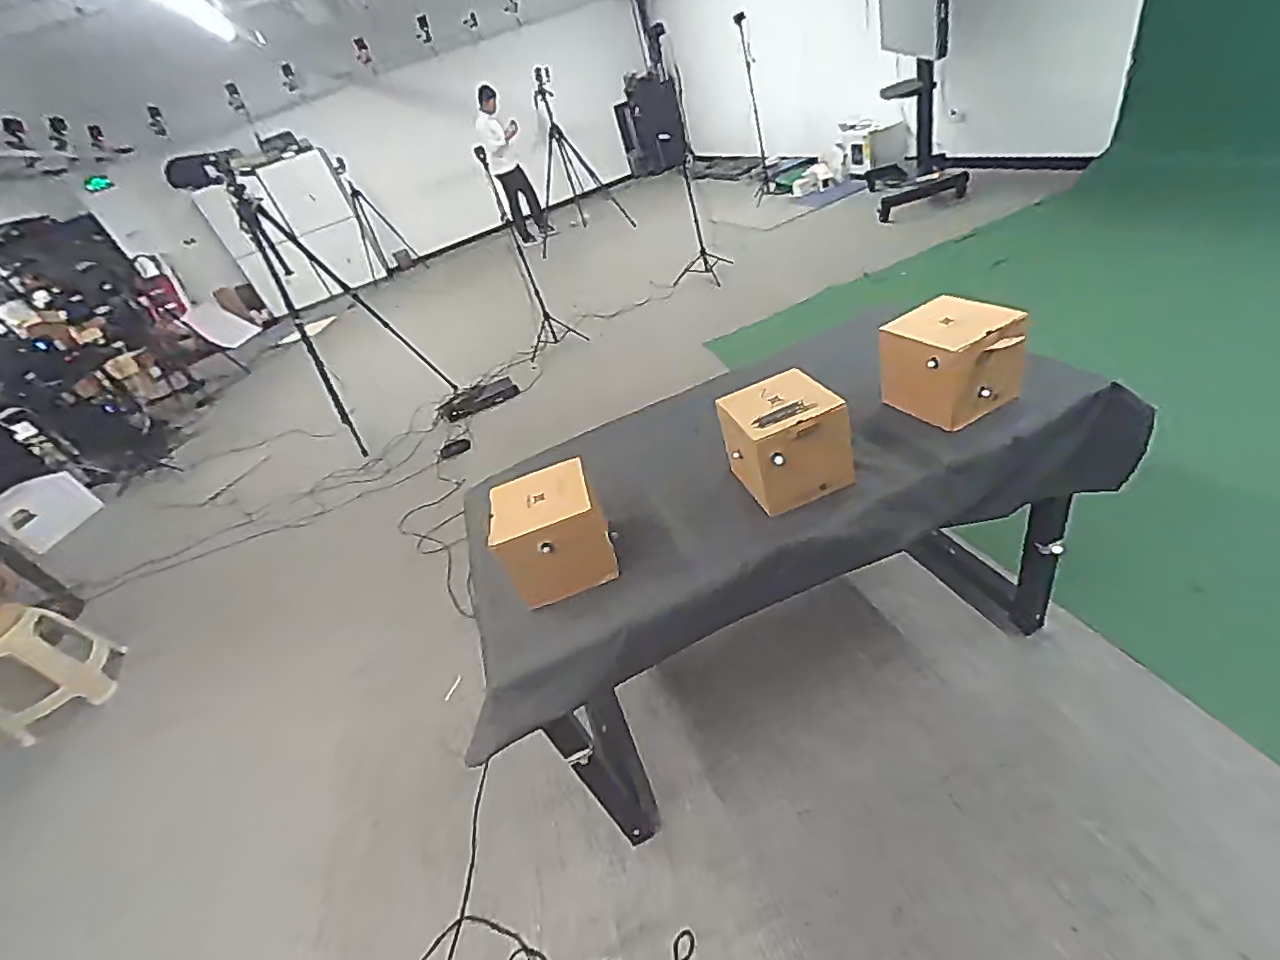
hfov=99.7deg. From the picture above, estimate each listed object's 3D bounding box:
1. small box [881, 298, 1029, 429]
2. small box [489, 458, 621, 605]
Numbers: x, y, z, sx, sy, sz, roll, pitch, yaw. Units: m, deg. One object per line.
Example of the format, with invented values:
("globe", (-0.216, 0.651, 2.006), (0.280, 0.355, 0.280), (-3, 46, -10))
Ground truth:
("small box", (0.585, -0.221, 1.026), (0.168, 0.176, 0.179), (-28, 36, -10))
("small box", (-0.151, 0.093, 0.962), (0.179, 0.176, 0.168), (-19, 36, -2))
